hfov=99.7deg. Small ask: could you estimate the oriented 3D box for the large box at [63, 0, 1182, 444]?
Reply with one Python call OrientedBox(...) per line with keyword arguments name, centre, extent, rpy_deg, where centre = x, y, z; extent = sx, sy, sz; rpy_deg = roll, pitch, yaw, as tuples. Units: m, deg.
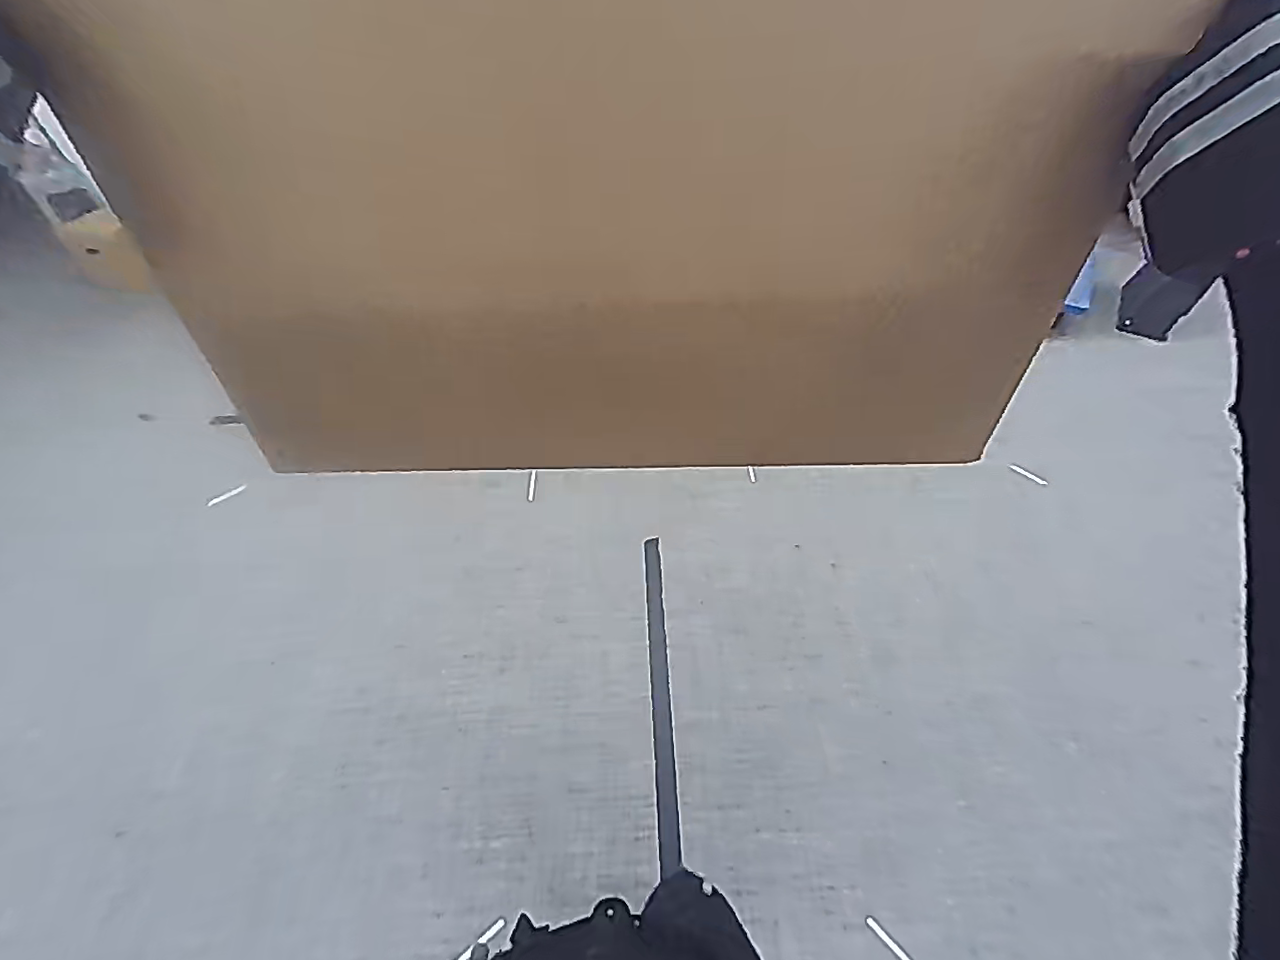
OrientedBox(name="large box", centre=(-0.007, -0.232, 0.328), extent=(0.408, 0.320, 0.320), rpy_deg=(0, 43, -1))
